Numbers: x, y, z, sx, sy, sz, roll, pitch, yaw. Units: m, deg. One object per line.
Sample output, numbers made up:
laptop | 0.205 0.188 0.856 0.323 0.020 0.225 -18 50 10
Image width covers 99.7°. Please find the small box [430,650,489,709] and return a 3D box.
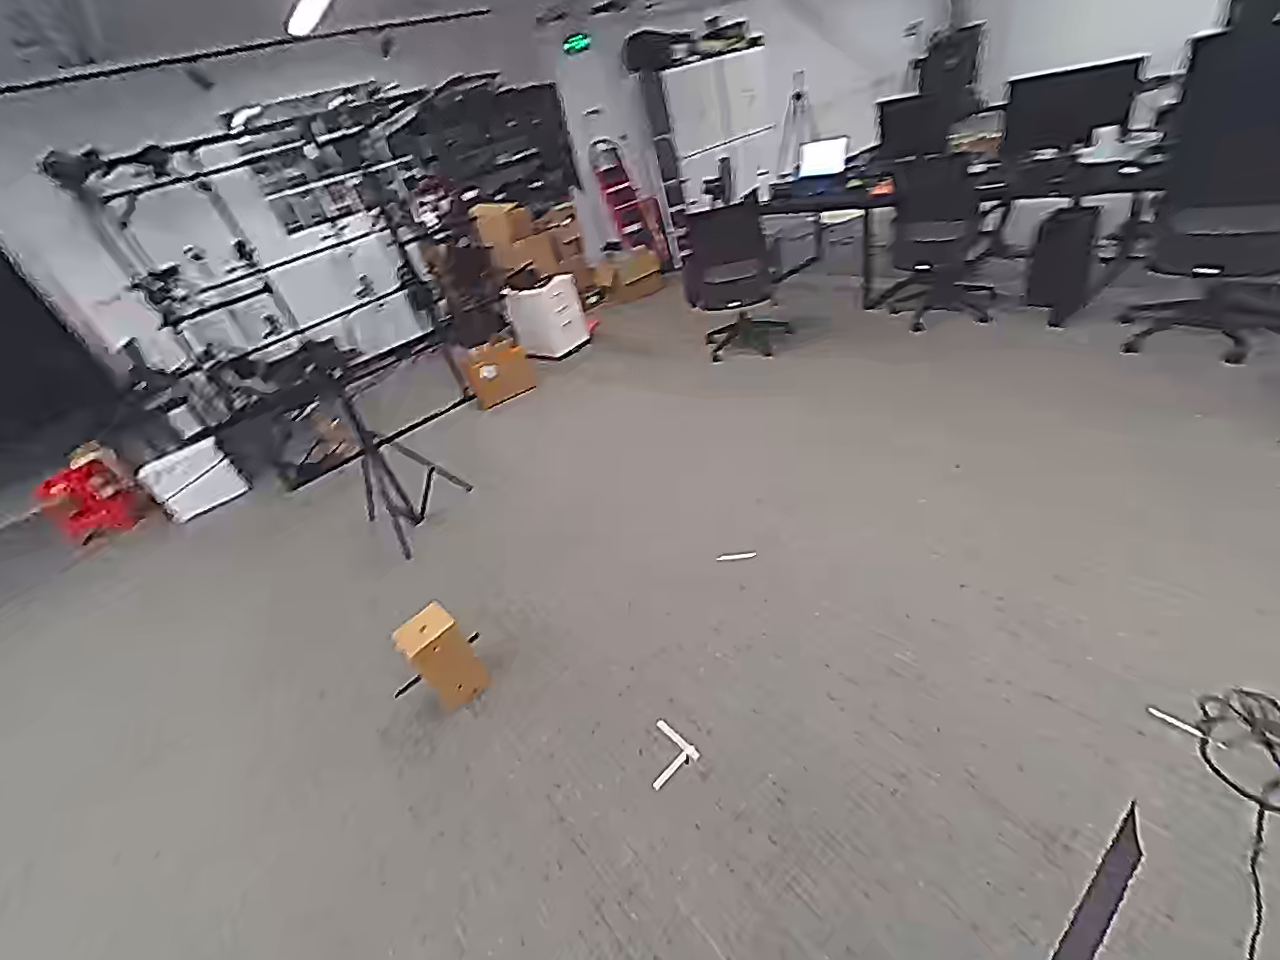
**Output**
small box | -0.676 0.700 1.962 0.168 0.176 0.179 -32 36 -23

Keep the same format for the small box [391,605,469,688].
small box | -0.714 0.575 1.864 0.168 0.176 0.179 20 49 43
